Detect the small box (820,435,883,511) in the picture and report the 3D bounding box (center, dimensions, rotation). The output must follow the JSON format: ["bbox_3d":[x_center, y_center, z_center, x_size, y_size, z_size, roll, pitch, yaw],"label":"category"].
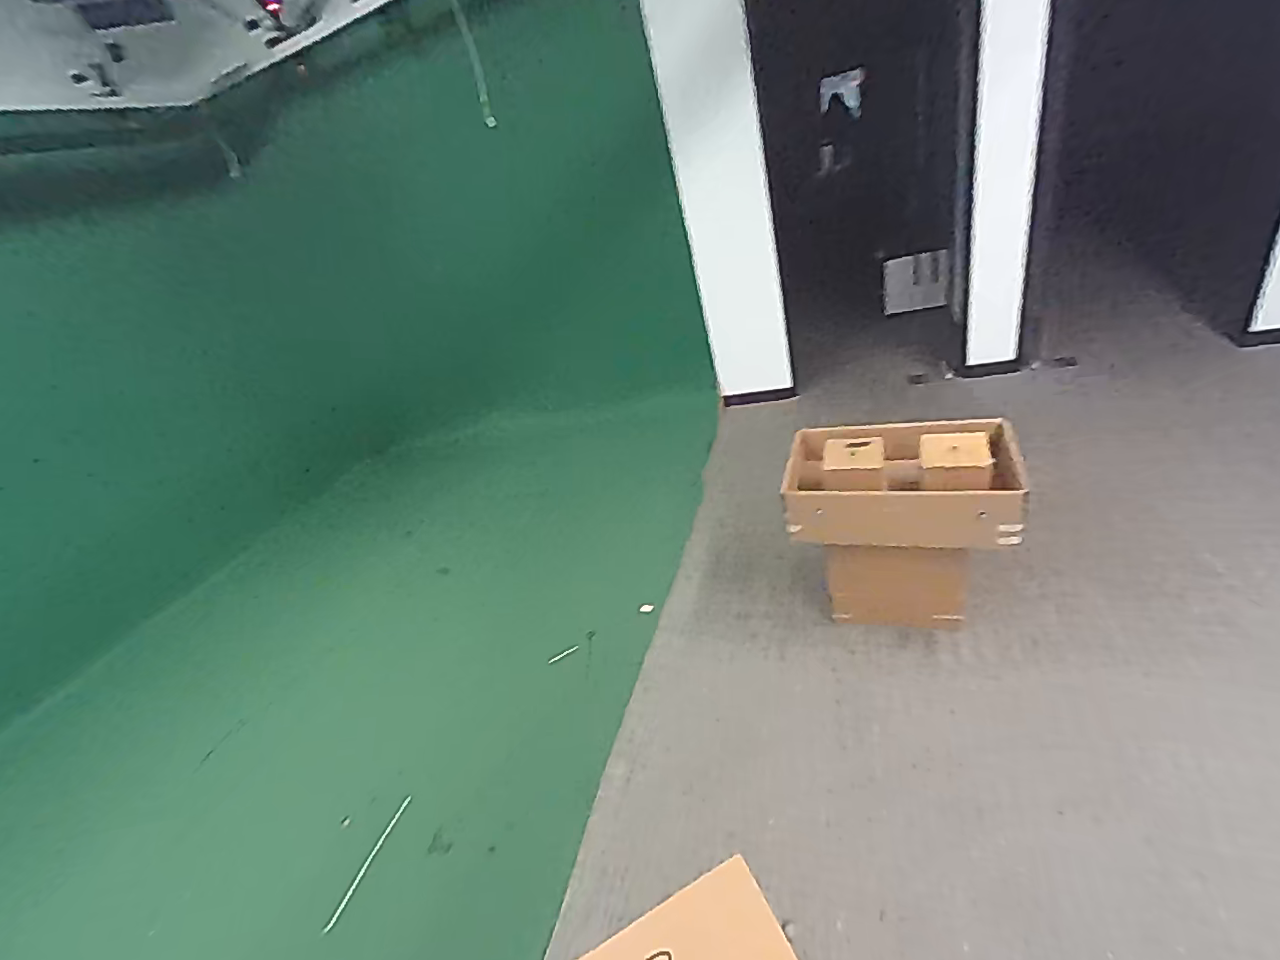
[{"bbox_3d":[0.659,-0.021,1.677,0.168,0.176,0.179,-2,35,25],"label":"small box"}]
